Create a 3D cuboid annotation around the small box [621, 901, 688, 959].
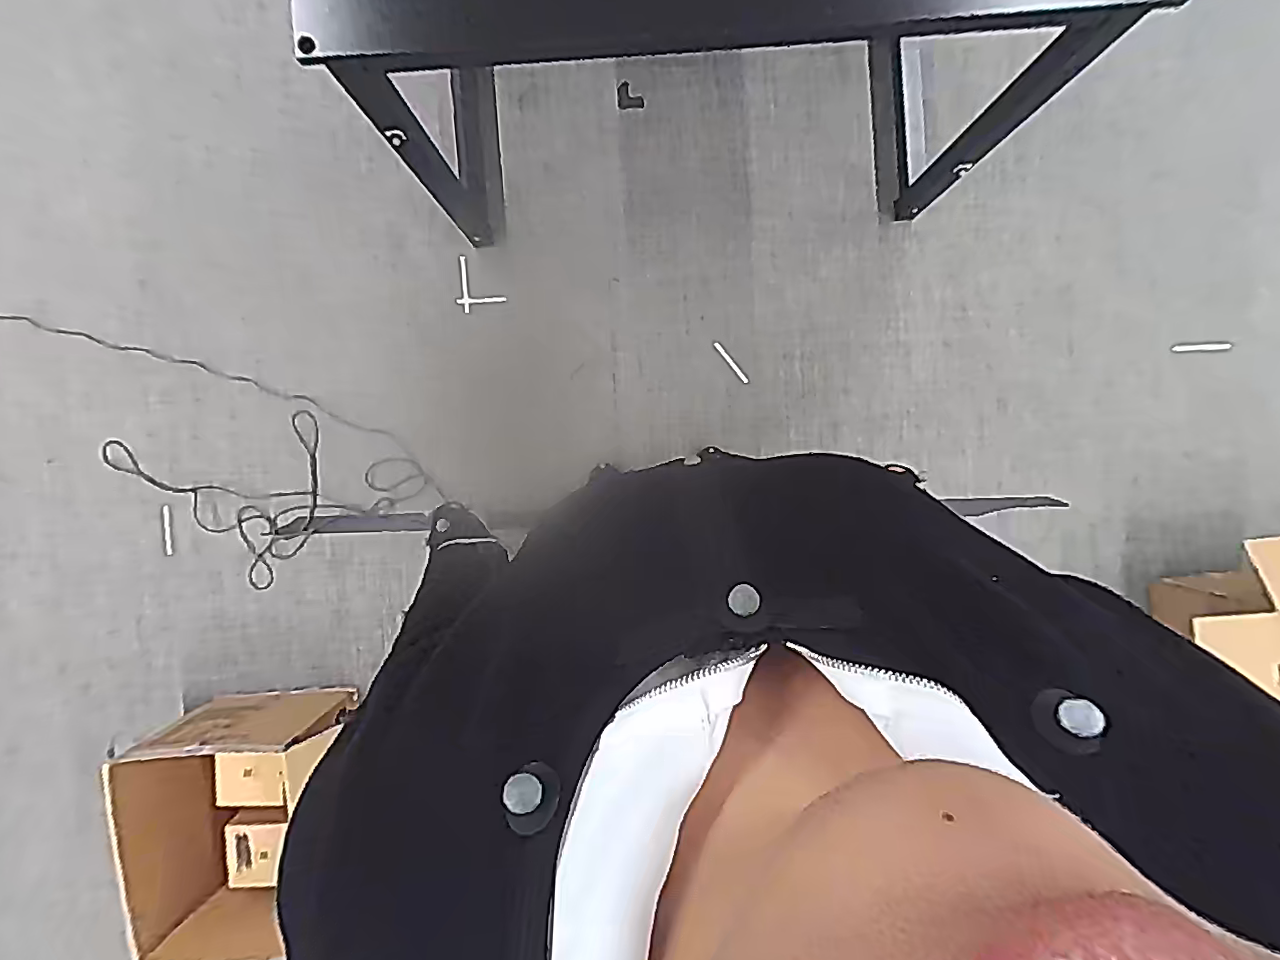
[{"bbox_3d":[0.035,1.258,1.429,0.168,0.176,0.179,1,91,-1],"label":"small box"}]
